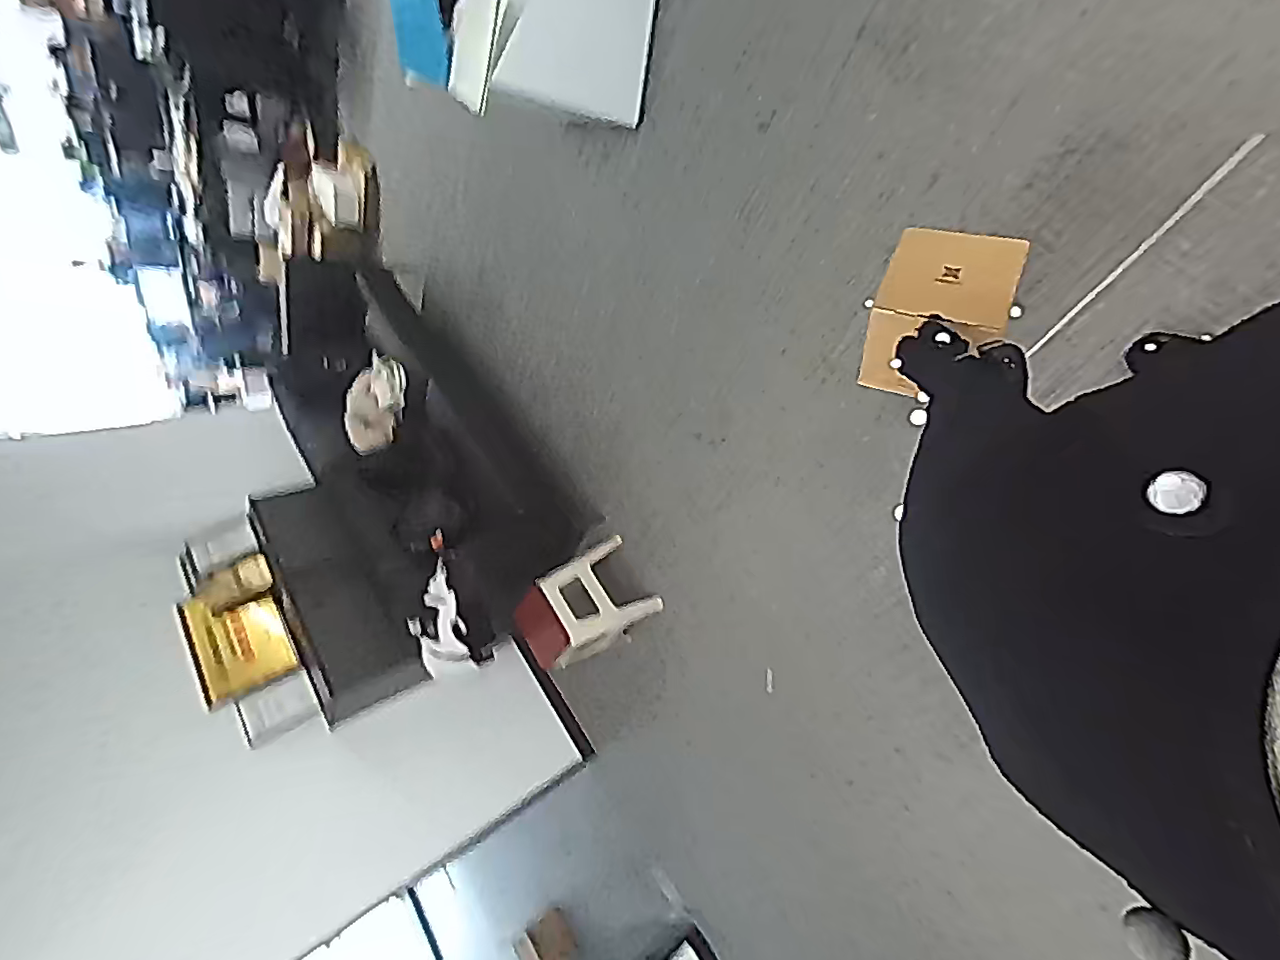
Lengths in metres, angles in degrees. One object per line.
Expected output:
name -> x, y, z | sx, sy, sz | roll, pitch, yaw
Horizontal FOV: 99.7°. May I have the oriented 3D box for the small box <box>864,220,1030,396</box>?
small box -> 0.455, -0.260, 0.825 | 0.168, 0.179, 0.176 | 19, 157, 23
